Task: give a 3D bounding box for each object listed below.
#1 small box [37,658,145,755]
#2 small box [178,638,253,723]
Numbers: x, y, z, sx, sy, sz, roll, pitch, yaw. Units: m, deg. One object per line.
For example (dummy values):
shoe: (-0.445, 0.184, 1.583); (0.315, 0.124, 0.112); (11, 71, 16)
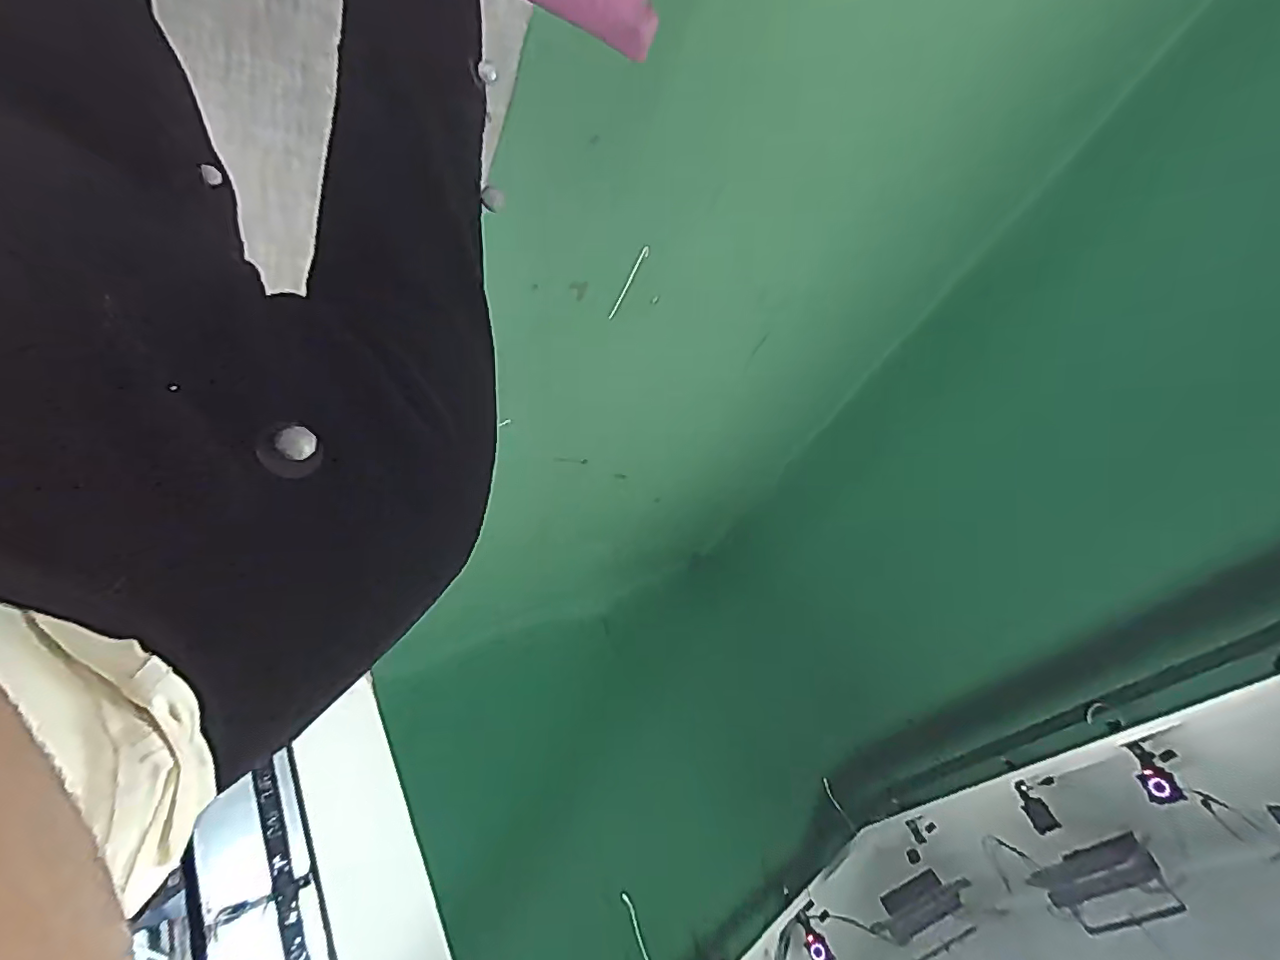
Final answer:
small box: (-1.495, 0.611, 1.478); (0.168, 0.176, 0.179); (-14, 149, -31)
small box: (-1.323, 0.620, 1.683); (0.168, 0.176, 0.179); (-4, 142, -43)
